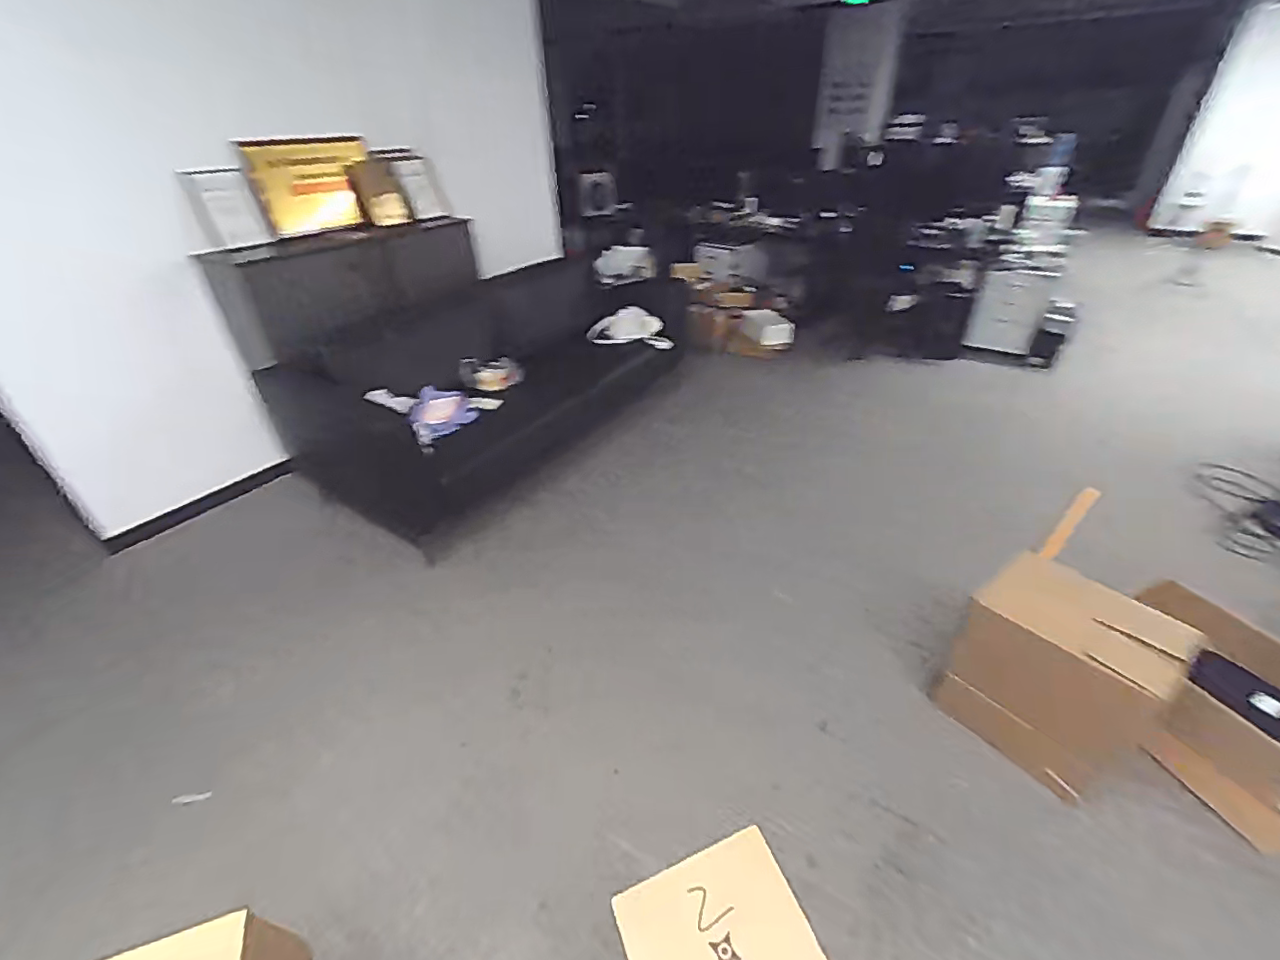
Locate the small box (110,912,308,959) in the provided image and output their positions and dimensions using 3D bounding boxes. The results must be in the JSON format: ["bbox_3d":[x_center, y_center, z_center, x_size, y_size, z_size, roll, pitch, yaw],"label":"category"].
[{"bbox_3d":[-0.386,0.503,0.440,0.168,0.176,0.179,-10,44,-16],"label":"small box"}]
